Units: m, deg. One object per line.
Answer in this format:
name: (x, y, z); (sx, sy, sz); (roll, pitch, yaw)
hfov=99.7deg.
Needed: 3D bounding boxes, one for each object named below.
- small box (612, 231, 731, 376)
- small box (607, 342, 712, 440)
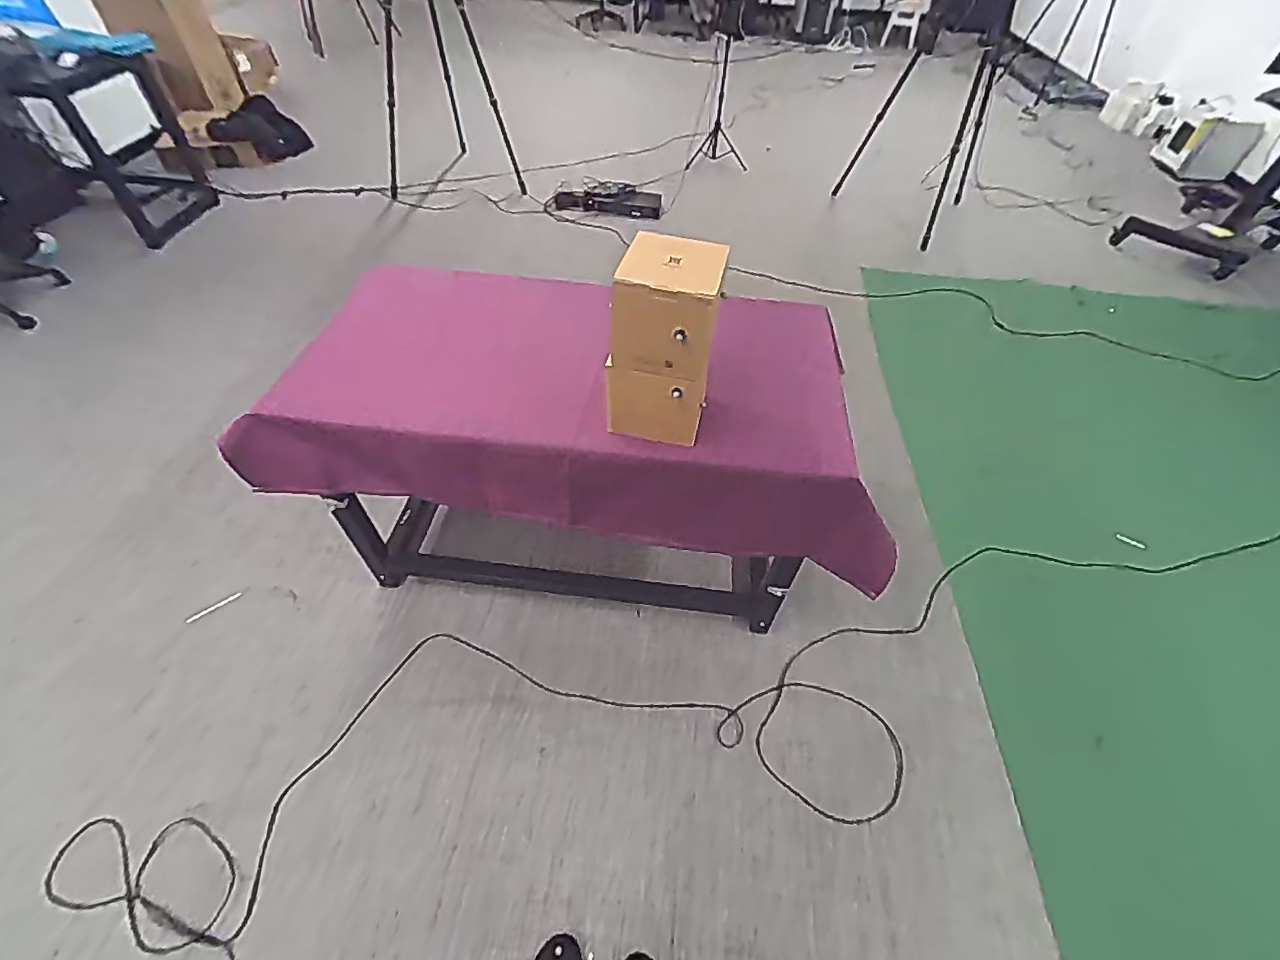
small box: (0.054, -0.308, 0.950); (0.168, 0.176, 0.179); (14, 49, 7)
small box: (0.038, -0.199, 1.070); (0.179, 0.176, 0.168); (12, 49, 6)
